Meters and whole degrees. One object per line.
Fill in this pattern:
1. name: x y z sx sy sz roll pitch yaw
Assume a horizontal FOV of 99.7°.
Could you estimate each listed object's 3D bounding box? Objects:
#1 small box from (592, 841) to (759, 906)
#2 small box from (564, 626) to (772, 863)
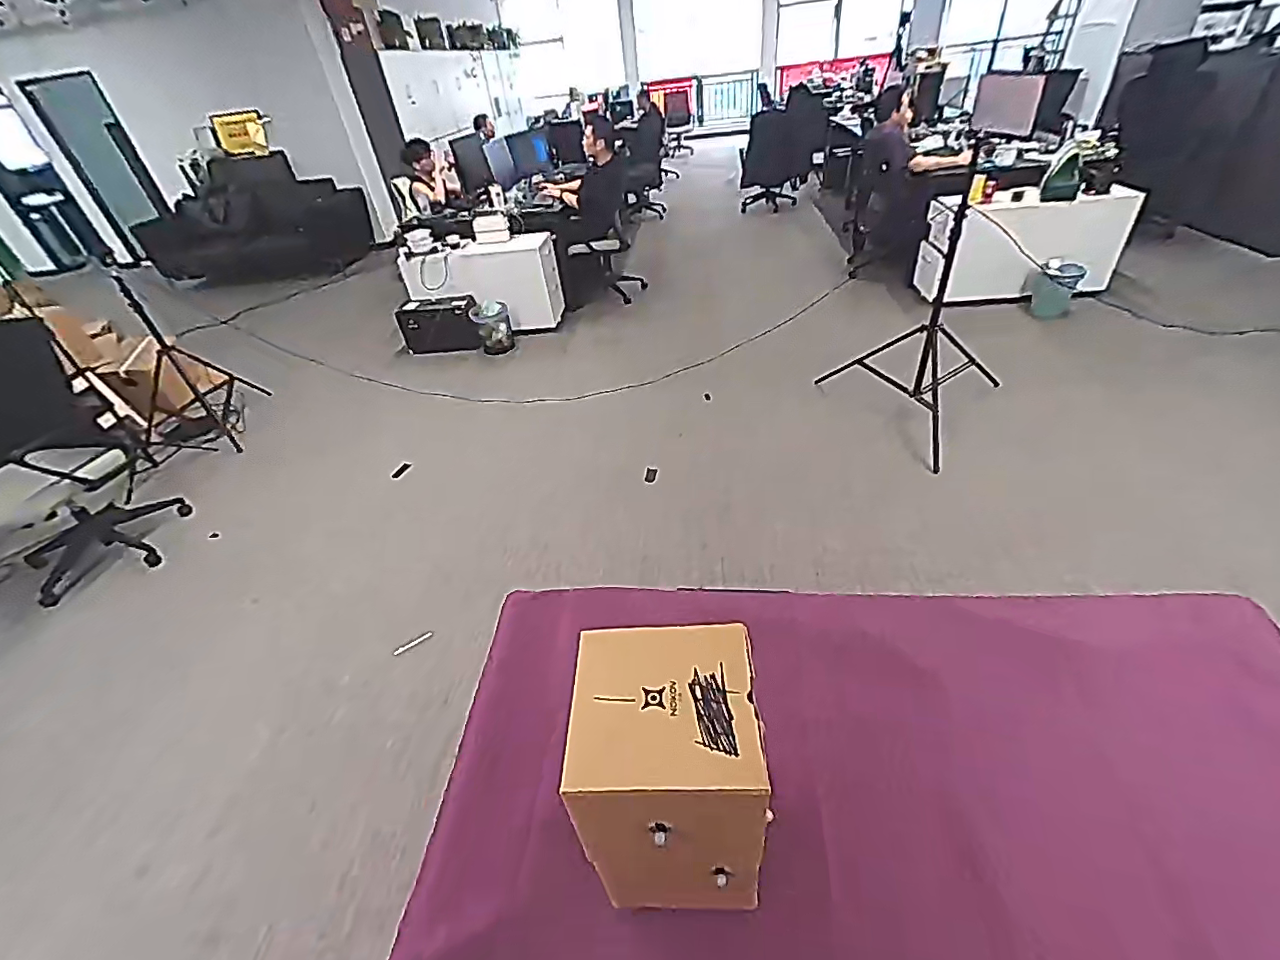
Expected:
1. small box: 0.047 0.398 0.662 0.179 0.176 0.168 -3 38 5
2. small box: 0.032 0.271 0.558 0.179 0.176 0.168 -4 37 5
